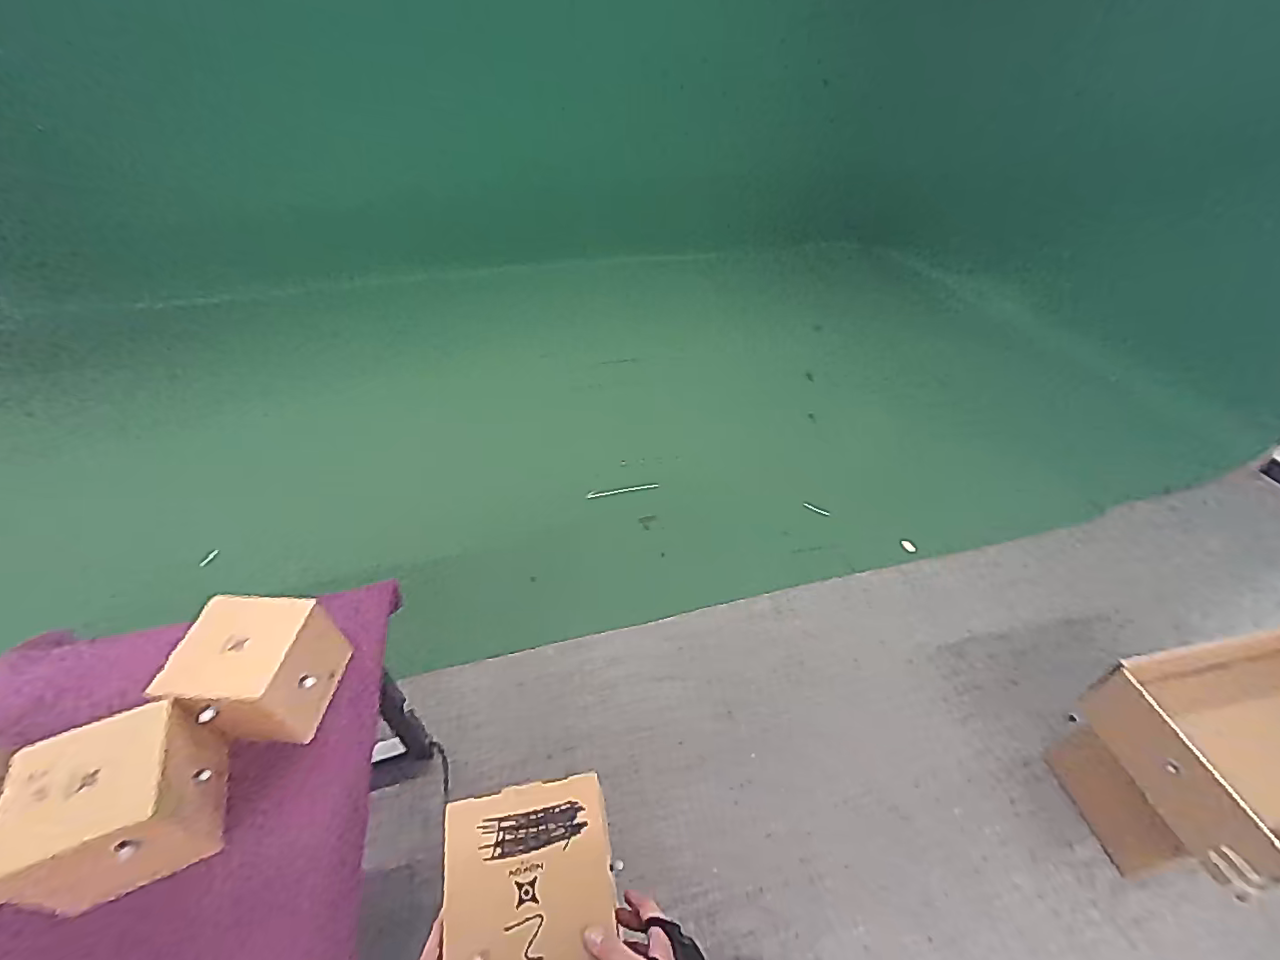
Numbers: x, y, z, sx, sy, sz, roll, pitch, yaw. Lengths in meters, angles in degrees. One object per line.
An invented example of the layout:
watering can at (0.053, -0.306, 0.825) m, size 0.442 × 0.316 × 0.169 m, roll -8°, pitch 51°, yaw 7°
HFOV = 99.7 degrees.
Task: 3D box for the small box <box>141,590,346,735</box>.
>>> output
small box at (-0.615, 0.296, 0.871) m, size 0.179 × 0.176 × 0.168 m, roll 1°, pitch 45°, yaw 3°
